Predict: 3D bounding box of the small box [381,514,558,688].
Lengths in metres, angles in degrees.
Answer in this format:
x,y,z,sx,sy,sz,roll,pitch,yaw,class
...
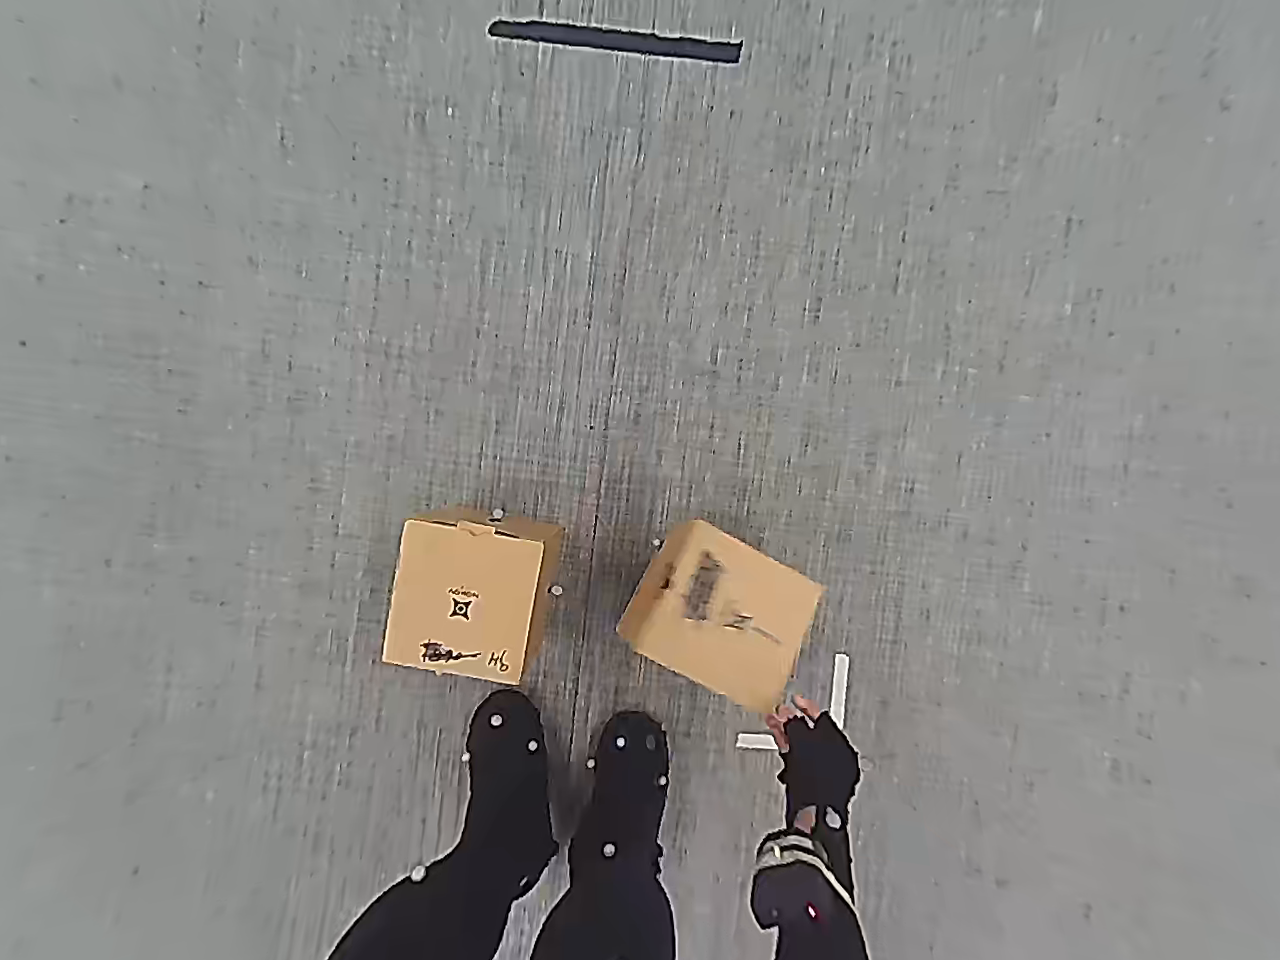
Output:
x,y,z,sx,sy,sz,roll,pitch,yaw,class
-0.209,0.145,0.713,0.168,0.176,0.179,11,90,-1,small box

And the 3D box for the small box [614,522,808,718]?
x,y,z,sx,sy,sz,roll,pitch,yaw,class
0.079,0.172,0.701,0.179,0.176,0.168,29,81,2,small box
